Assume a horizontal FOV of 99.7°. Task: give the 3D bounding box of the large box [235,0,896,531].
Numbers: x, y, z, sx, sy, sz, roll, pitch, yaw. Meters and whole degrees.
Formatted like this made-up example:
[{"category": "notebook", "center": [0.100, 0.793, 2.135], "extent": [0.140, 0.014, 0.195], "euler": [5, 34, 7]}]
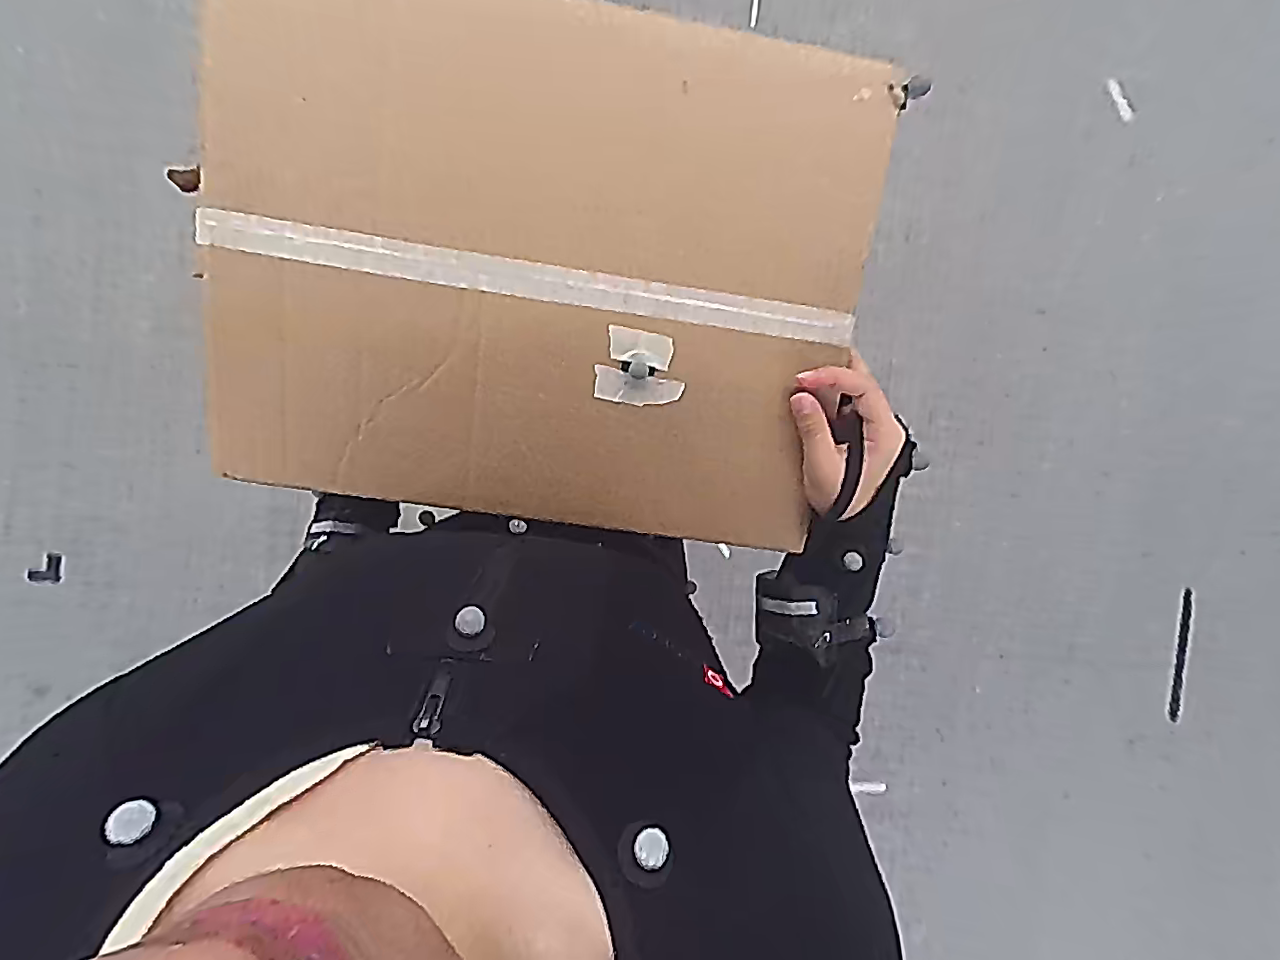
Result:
[{"category": "large box", "center": [-0.064, -0.161, 0.497], "extent": [0.408, 0.320, 0.320], "euler": [7, 102, -6]}]
